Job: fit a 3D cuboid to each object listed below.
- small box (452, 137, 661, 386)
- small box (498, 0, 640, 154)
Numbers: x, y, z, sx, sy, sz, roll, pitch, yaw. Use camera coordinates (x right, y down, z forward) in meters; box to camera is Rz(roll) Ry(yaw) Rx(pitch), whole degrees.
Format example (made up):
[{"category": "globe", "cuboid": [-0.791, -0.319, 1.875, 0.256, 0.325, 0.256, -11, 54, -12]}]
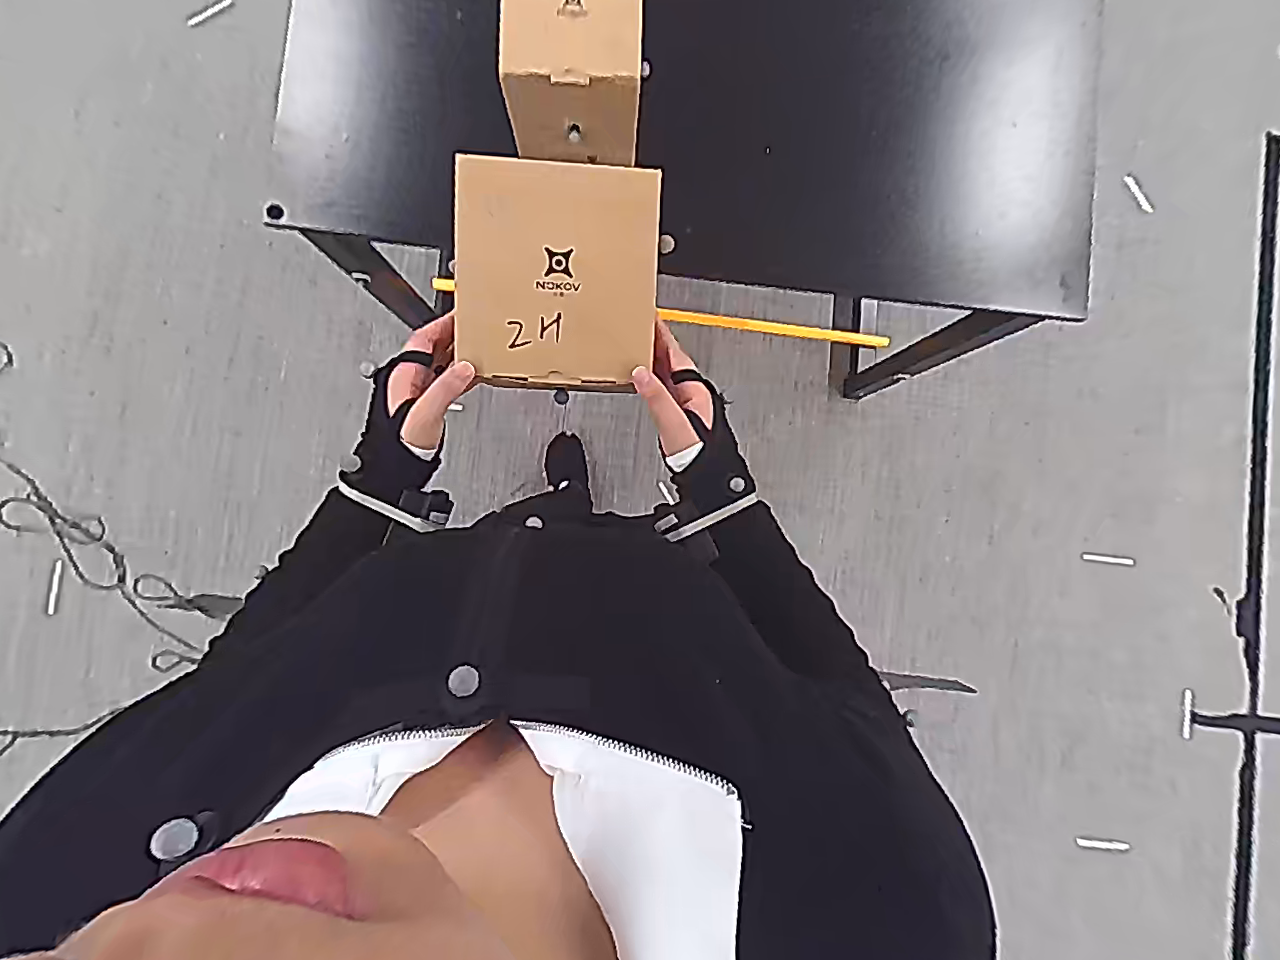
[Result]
[{"category": "small box", "cuboid": [-0.075, -0.190, 0.522, 0.168, 0.176, 0.179, 3, 96, -4]}, {"category": "small box", "cuboid": [-0.085, -0.545, 0.713, 0.168, 0.176, 0.179, 2, 87, -2]}]
